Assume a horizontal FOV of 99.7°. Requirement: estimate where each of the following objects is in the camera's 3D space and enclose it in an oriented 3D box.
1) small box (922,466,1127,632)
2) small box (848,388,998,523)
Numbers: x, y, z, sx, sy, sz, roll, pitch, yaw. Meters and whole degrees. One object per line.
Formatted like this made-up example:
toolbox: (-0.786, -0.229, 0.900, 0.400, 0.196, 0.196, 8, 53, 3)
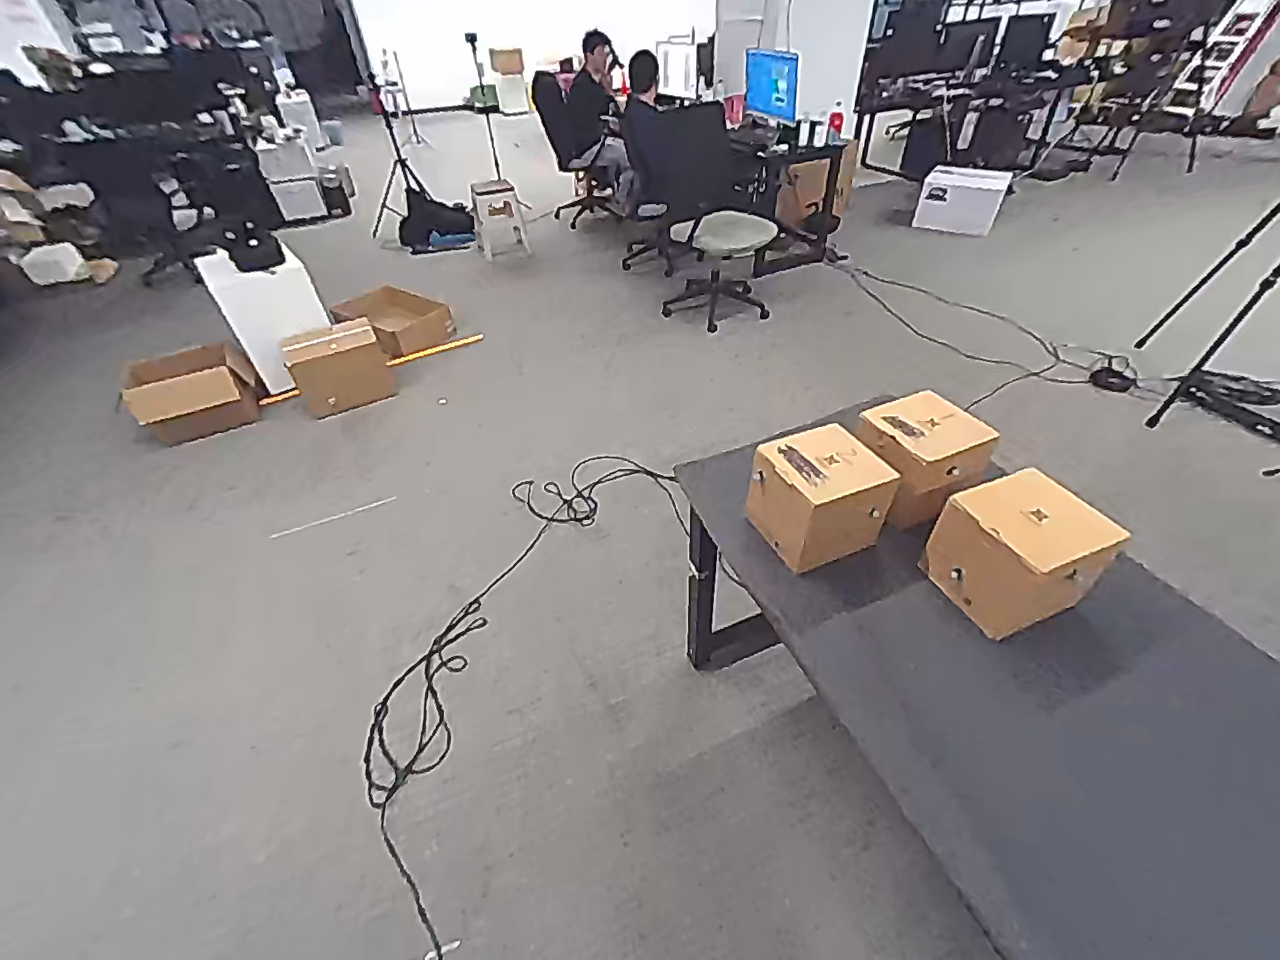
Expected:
small box: (0.588, 0.109, 0.856, 0.179, 0.176, 0.168, -17, 44, -14)
small box: (0.519, -0.045, 1.026, 0.179, 0.176, 0.168, -18, 45, -17)
